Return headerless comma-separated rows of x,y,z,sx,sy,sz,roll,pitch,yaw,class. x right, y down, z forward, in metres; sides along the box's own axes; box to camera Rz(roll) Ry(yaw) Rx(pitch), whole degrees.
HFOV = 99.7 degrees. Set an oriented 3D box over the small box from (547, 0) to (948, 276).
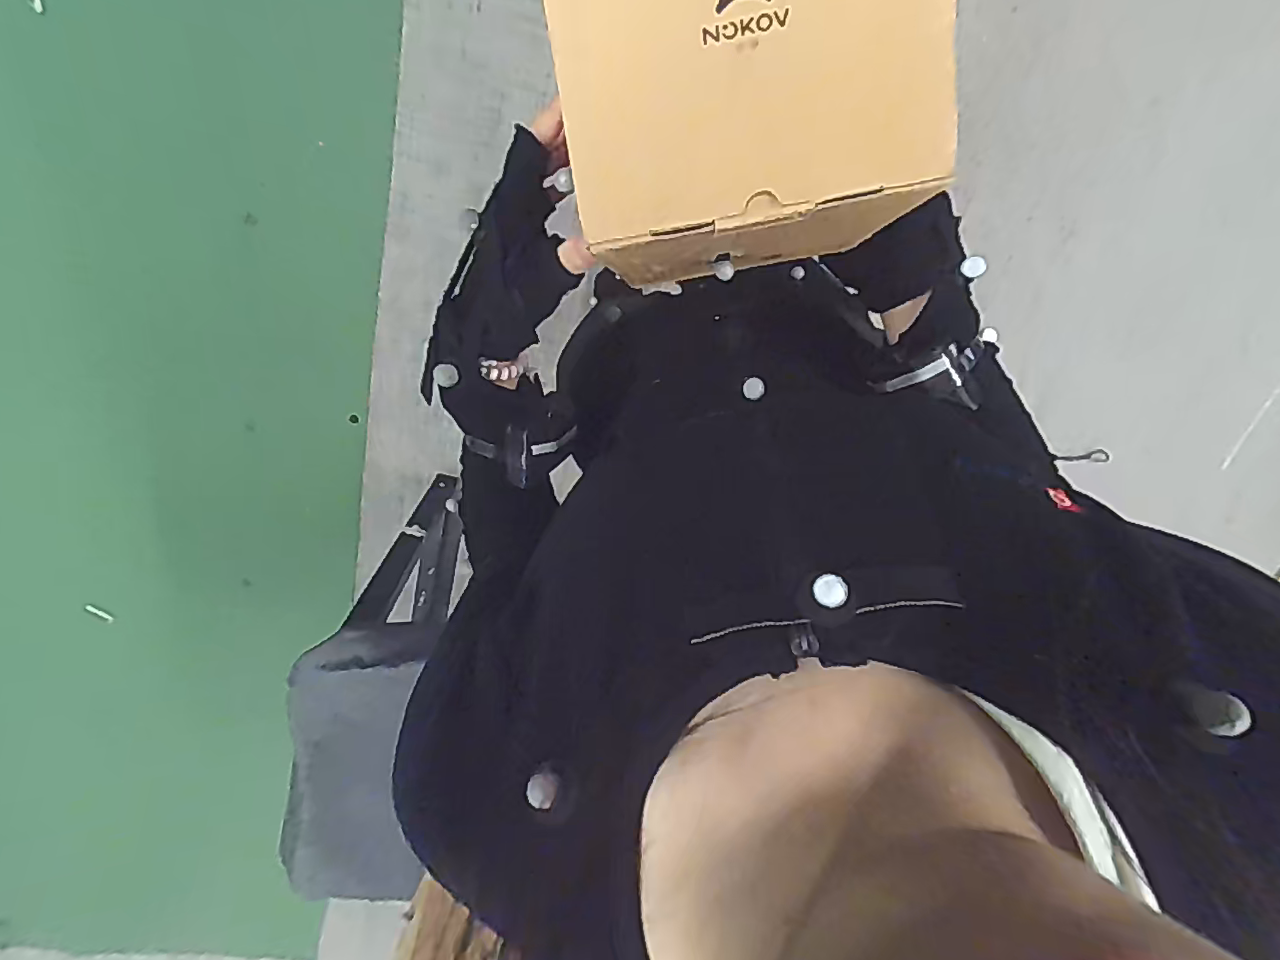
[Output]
0.049,-0.226,0.304,0.168,0.176,0.179,-8,104,8,small box
